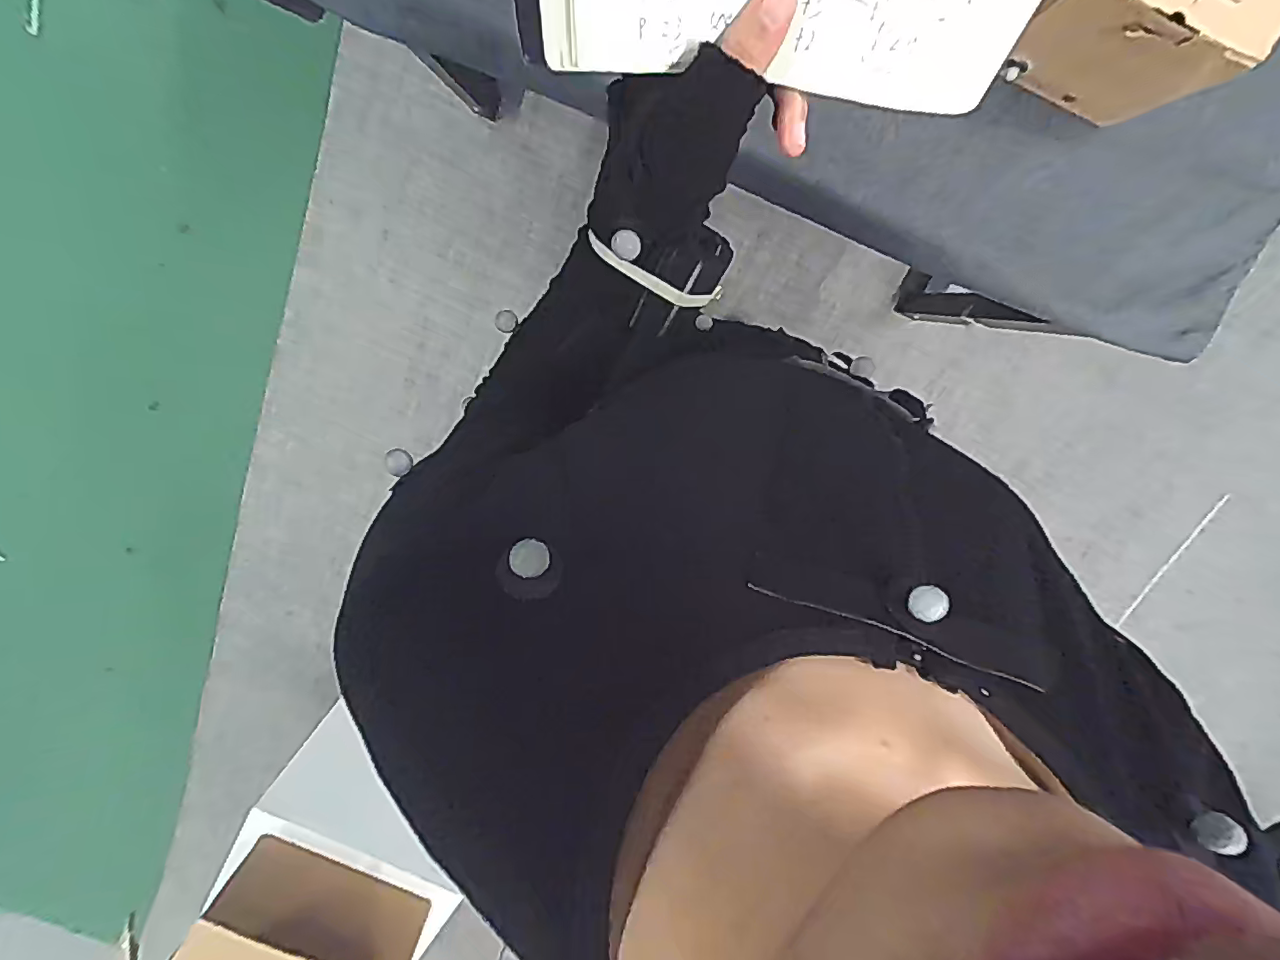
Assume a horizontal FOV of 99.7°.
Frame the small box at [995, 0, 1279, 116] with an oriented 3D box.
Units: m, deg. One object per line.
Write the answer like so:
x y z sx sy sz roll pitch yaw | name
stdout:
0.469 -0.473 0.488 0.168 0.176 0.179 22 107 -5 | small box
